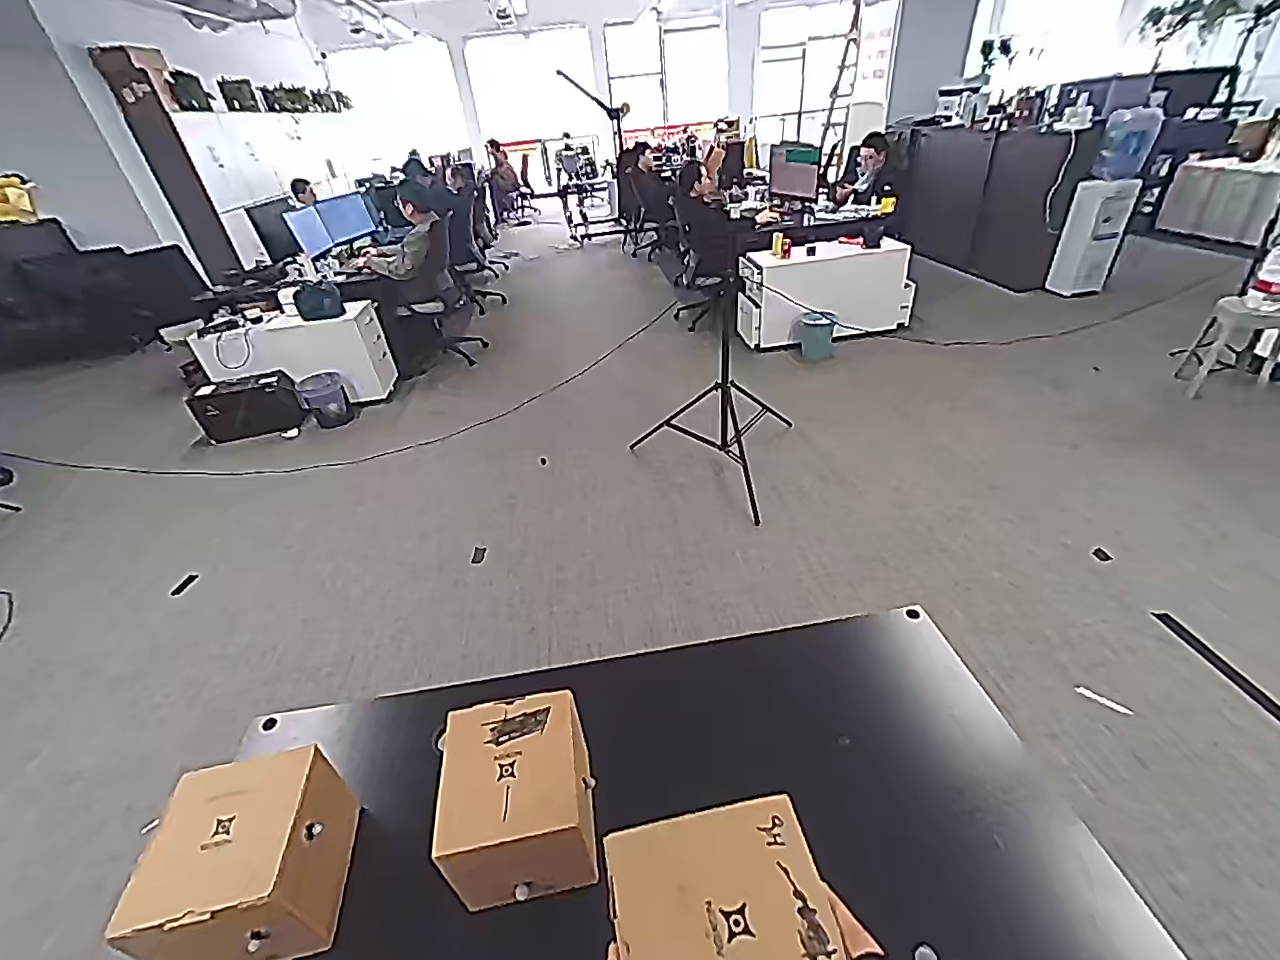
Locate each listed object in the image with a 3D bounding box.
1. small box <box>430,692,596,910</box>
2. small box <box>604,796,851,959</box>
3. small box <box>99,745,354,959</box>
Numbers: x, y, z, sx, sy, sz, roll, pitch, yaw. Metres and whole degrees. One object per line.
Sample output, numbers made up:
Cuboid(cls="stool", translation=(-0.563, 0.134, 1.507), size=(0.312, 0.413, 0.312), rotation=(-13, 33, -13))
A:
Cuboid(cls="small box", translation=(-0.153, 0.412, 0.702), size=(0.168, 0.176, 0.179), rotation=(-9, 36, -5))
Cuboid(cls="small box", translation=(0.070, 0.414, 0.473), size=(0.179, 0.176, 0.168), rotation=(-8, 38, -8))
Cuboid(cls="small box", translation=(-0.479, 0.470, 0.667), size=(0.168, 0.176, 0.179), rotation=(-10, 34, -8))
